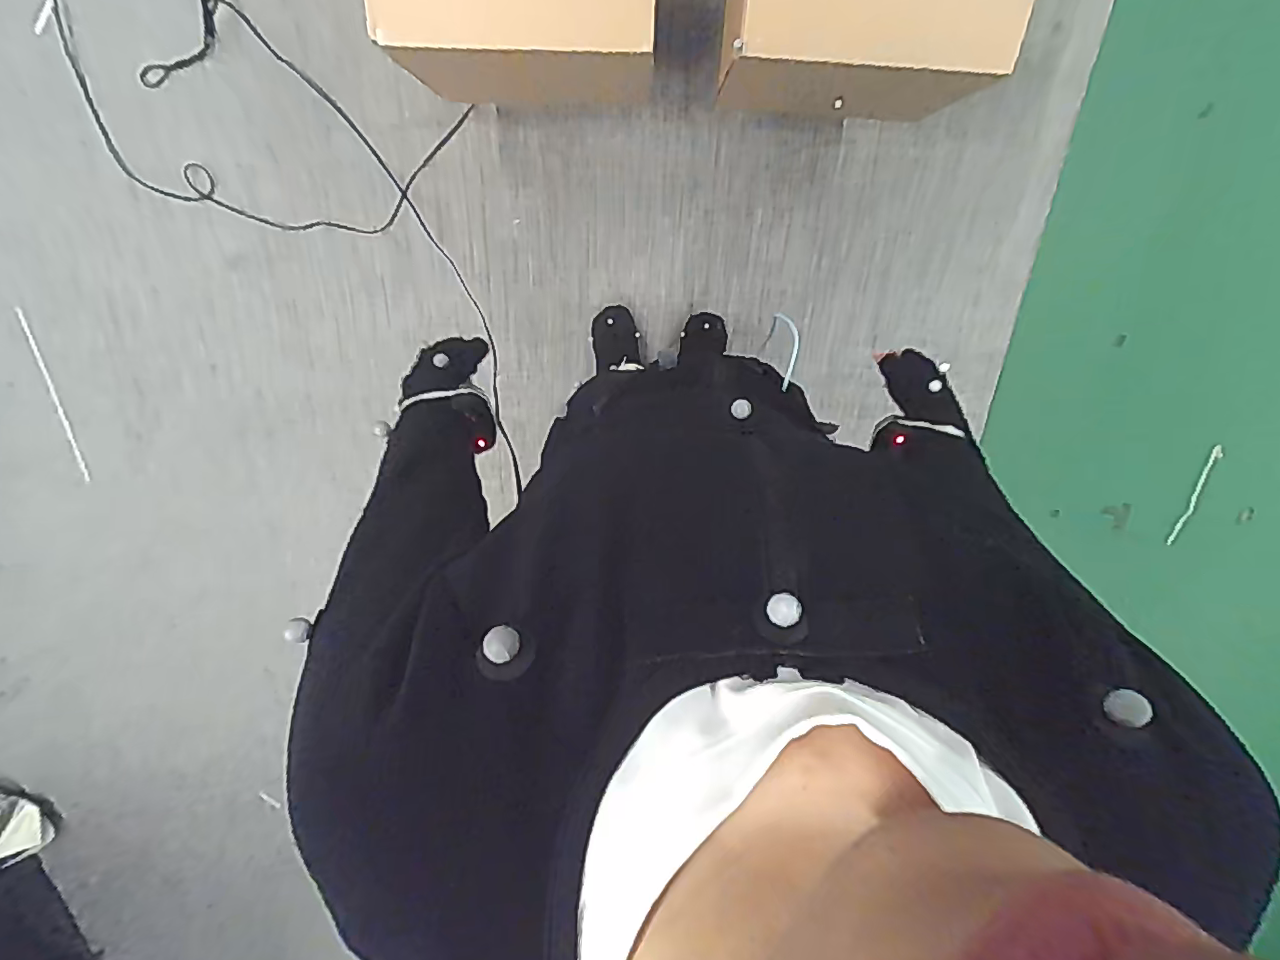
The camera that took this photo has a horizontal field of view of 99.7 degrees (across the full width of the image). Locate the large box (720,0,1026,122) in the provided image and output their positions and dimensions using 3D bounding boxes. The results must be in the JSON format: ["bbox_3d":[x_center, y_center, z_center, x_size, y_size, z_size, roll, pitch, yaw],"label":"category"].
[{"bbox_3d":[0.362,-0.803,0.886,0.408,0.320,0.320,4,112,0],"label":"large box"}]
